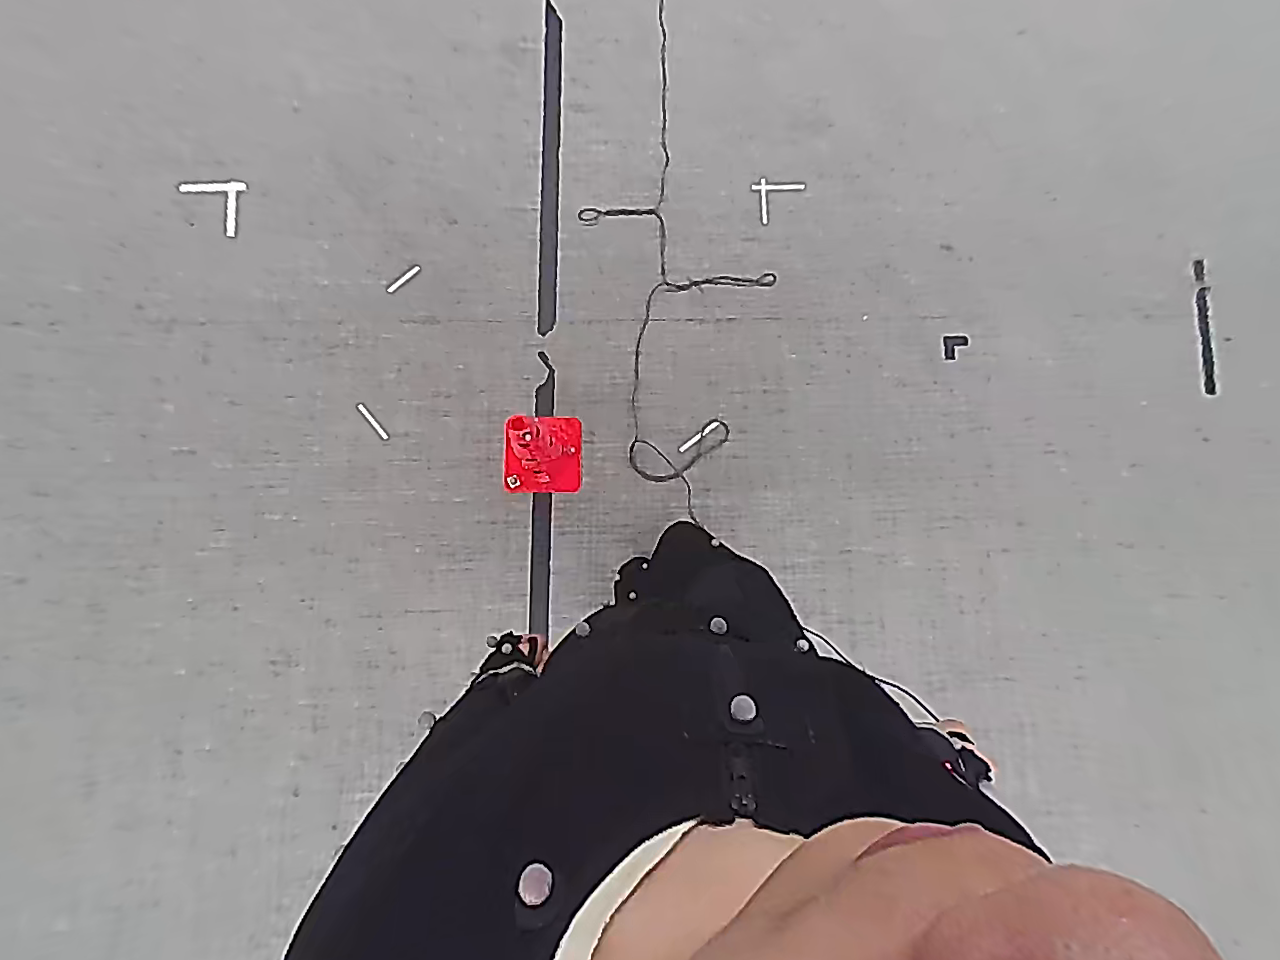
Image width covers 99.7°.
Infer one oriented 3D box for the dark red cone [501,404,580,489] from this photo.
[{"bbox_3d":[-0.244,-0.096,1.216,0.201,0.394,0.202,-1,83,-3],"label":"dark red cone"}]
